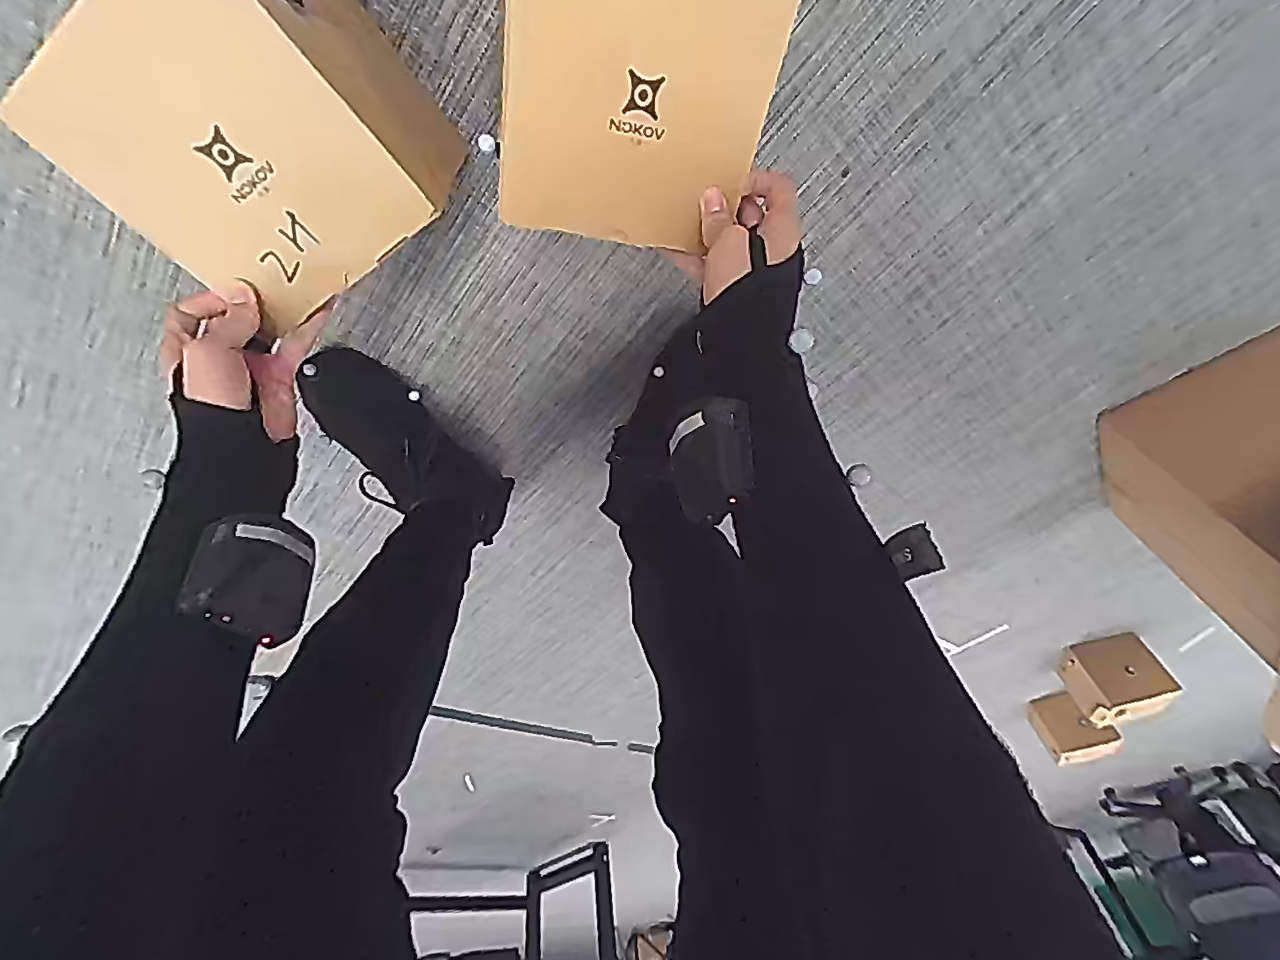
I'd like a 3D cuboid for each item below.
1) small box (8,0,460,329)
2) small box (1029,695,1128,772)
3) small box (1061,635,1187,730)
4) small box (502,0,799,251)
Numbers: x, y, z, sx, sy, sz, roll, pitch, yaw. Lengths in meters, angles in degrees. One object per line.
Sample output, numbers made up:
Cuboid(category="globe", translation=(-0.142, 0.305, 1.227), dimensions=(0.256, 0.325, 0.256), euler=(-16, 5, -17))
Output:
Cuboid(category="small box", translation=(-0.259, -0.254, 0.396), dimensions=(0.168, 0.176, 0.179), euler=(-27, 132, 17))
Cuboid(category="small box", translation=(1.413, 0.816, 1.755), dimensions=(0.179, 0.176, 0.168), euler=(-23, 133, 11))
Cuboid(category="small box", translation=(1.307, 0.552, 1.479), dimensions=(0.179, 0.176, 0.168), euler=(-18, 134, 7))
Cuboid(category="small box", translation=(-0.013, -0.299, 0.397), dimensions=(0.168, 0.176, 0.179), euler=(2, 135, -16))
